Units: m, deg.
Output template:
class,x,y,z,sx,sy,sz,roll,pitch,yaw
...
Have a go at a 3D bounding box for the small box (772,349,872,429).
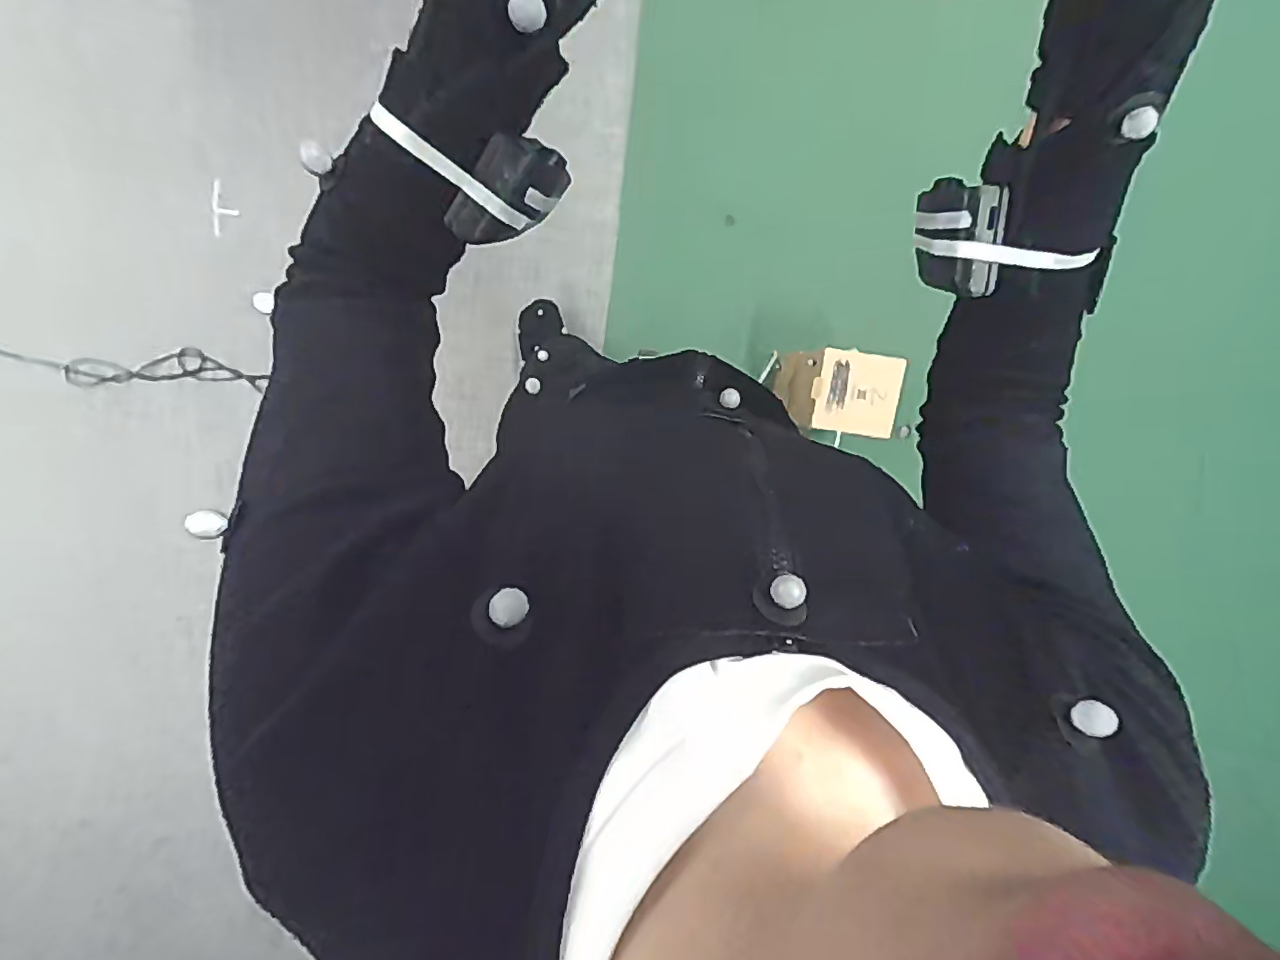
class,x,y,z,sx,sy,sz,roll,pitch,yaw
small box,0.447,-0.227,1.358,0.179,0.176,0.168,9,100,-3
